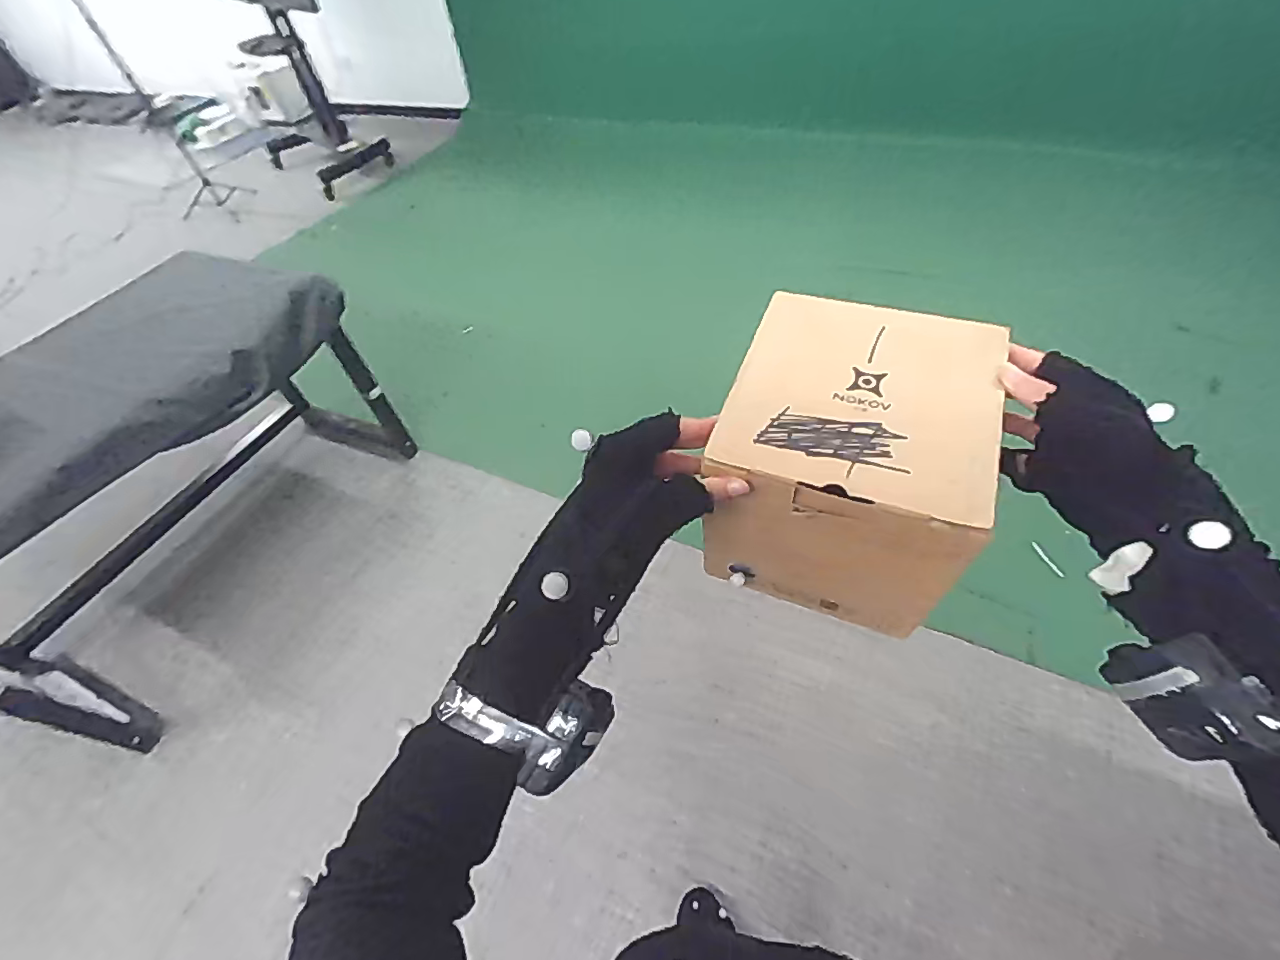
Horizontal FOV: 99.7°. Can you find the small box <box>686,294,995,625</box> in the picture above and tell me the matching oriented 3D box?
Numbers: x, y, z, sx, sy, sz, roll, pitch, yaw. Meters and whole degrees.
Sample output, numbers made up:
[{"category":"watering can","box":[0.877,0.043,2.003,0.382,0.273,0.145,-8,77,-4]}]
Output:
[{"category":"small box","box":[0.146,-0.012,0.421,0.168,0.176,0.179,16,58,18]}]
